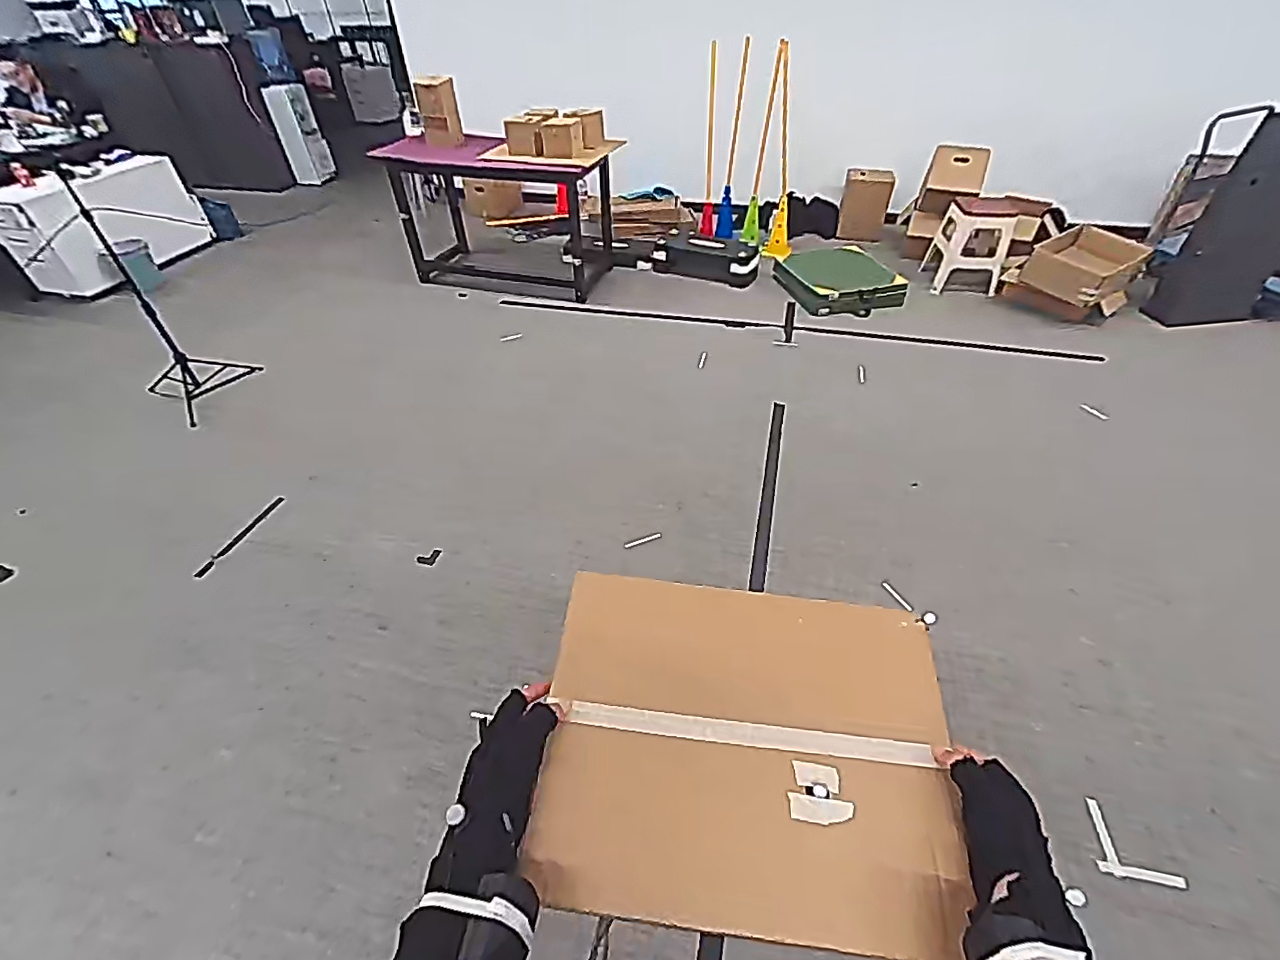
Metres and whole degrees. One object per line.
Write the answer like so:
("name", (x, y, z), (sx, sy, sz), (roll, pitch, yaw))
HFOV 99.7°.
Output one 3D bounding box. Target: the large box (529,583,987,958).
("large box", (0.108, 0.352, 0.671), (0.408, 0.320, 0.320), (6, 54, 3))
